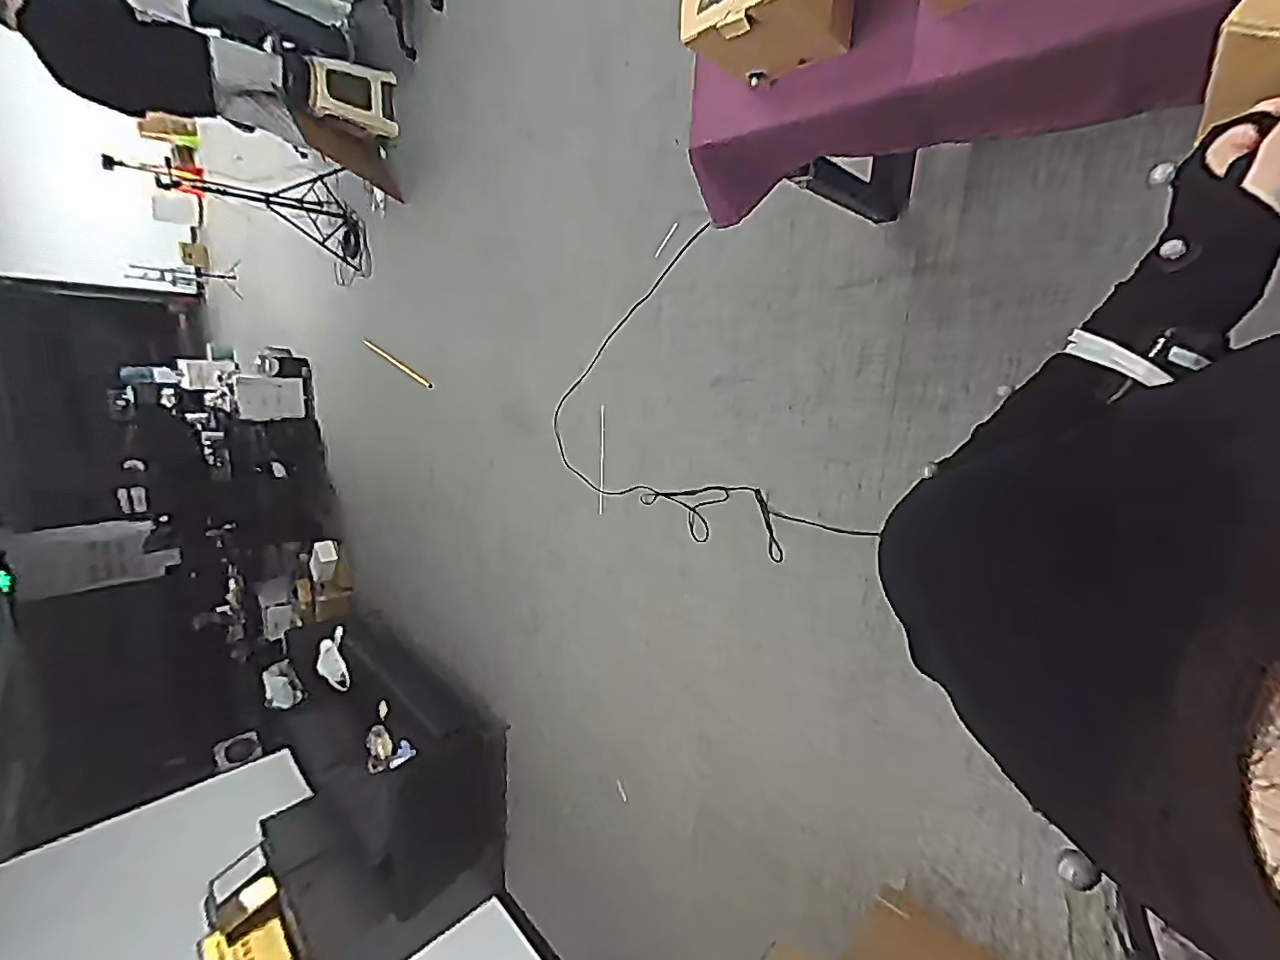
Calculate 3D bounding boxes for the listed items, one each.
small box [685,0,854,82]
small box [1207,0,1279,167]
[{"bbox_3d":[0.181,-0.675,0.728,0.168,0.176,0.179,15,105,43],"label":"small box"},{"bbox_3d":[0.525,-0.319,0.344,0.168,0.176,0.179,45,117,32],"label":"small box"}]
